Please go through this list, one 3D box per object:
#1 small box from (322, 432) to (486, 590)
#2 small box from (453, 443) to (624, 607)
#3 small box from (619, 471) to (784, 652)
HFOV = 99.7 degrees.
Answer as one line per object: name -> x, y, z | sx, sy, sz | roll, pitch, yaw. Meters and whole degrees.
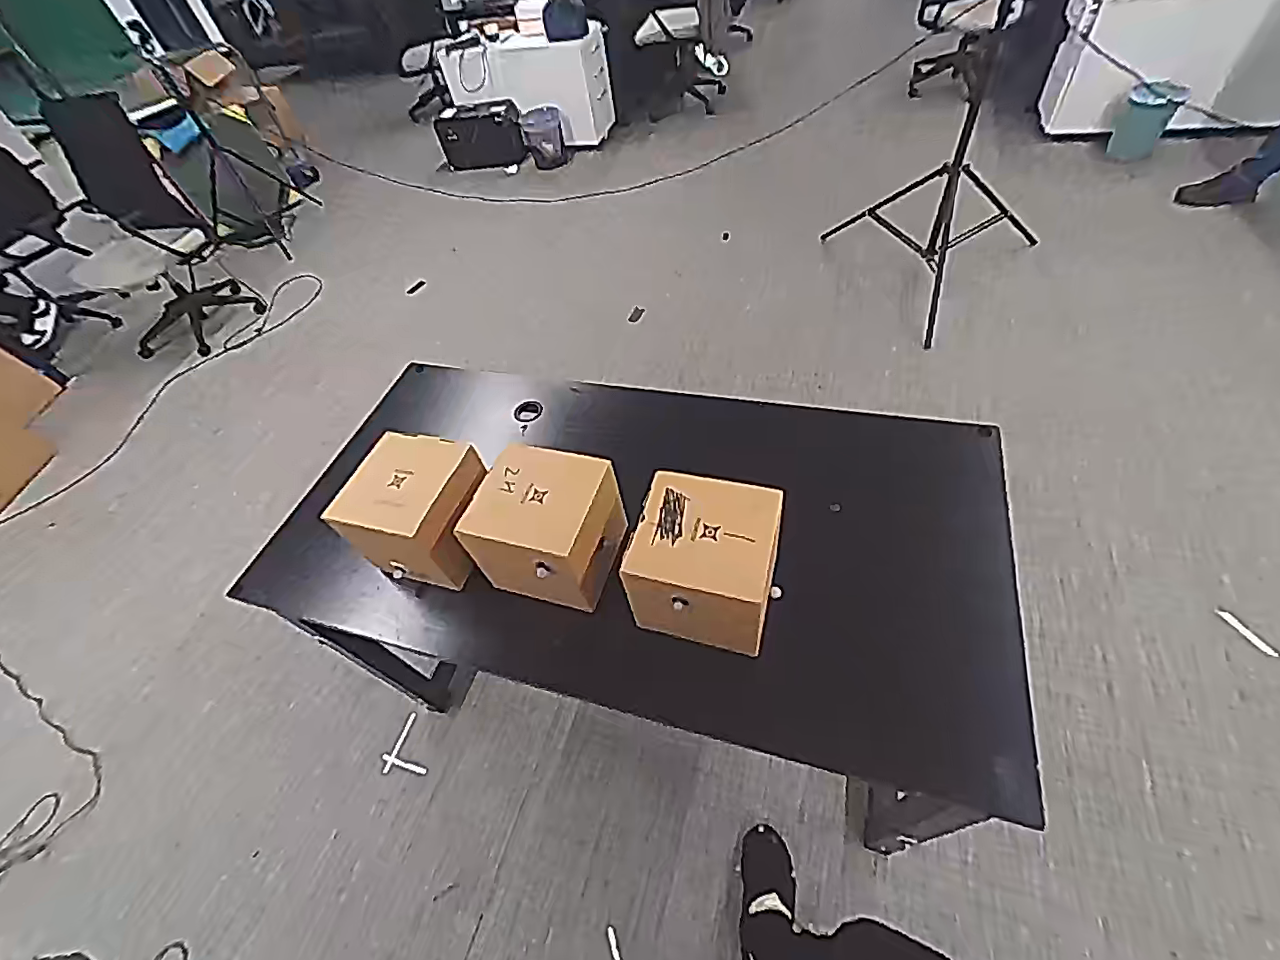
small box -> -0.348, 0.049, 0.865 | 0.168, 0.176, 0.179 | 8, 55, 17
small box -> -0.136, 0.071, 0.808 | 0.179, 0.176, 0.168 | 10, 54, 17
small box -> 0.090, 0.114, 0.736 | 0.179, 0.176, 0.168 | 10, 55, 17
